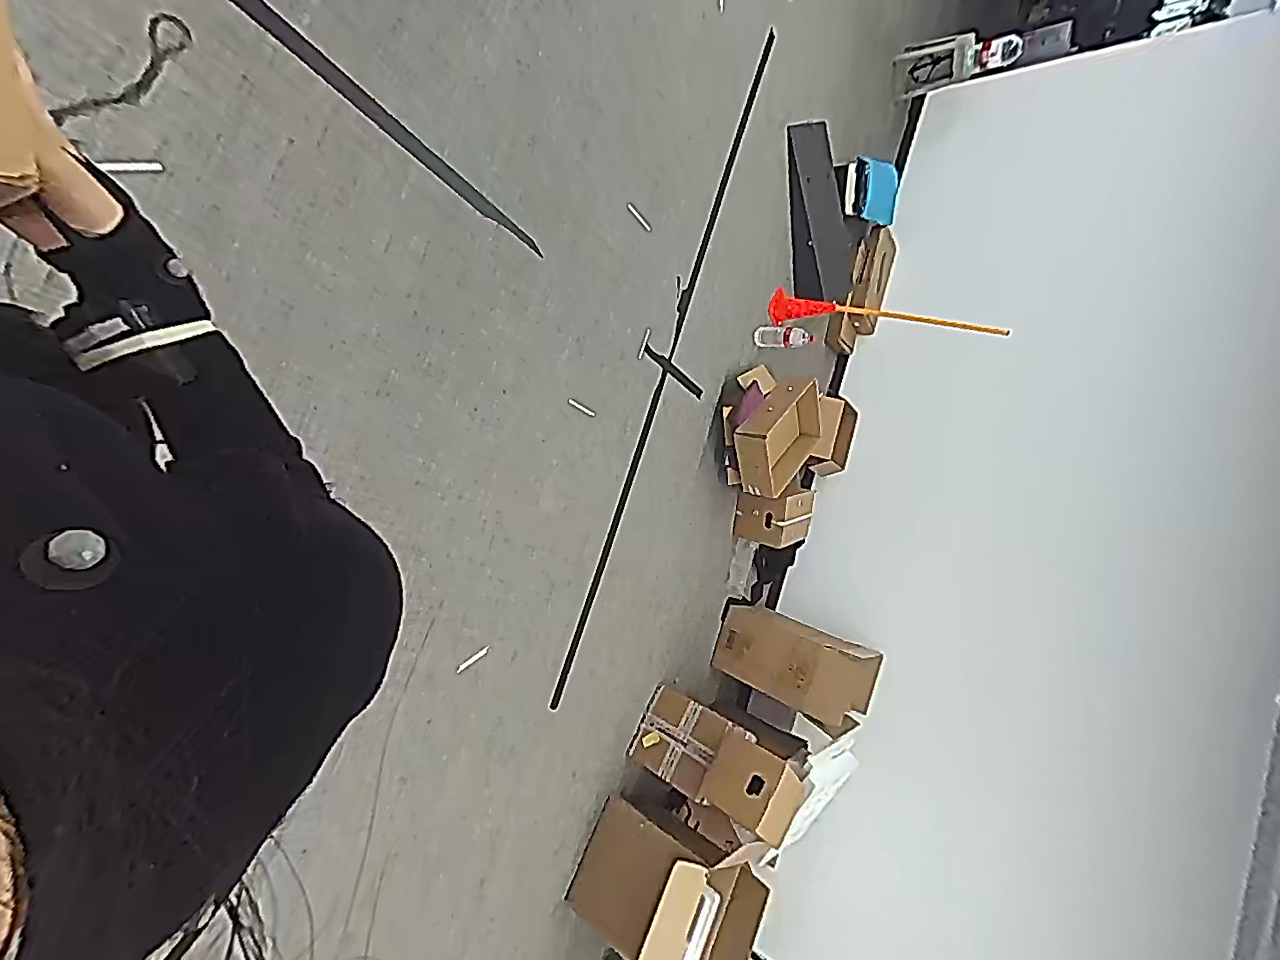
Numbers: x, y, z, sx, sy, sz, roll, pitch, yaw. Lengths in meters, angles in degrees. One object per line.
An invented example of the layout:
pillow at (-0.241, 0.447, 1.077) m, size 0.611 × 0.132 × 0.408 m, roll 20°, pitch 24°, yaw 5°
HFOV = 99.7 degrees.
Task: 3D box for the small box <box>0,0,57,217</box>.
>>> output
small box at (-0.389, -0.218, 0.216) m, size 0.168 × 0.176 × 0.179 m, roll -17°, pitch 113°, yaw -56°
